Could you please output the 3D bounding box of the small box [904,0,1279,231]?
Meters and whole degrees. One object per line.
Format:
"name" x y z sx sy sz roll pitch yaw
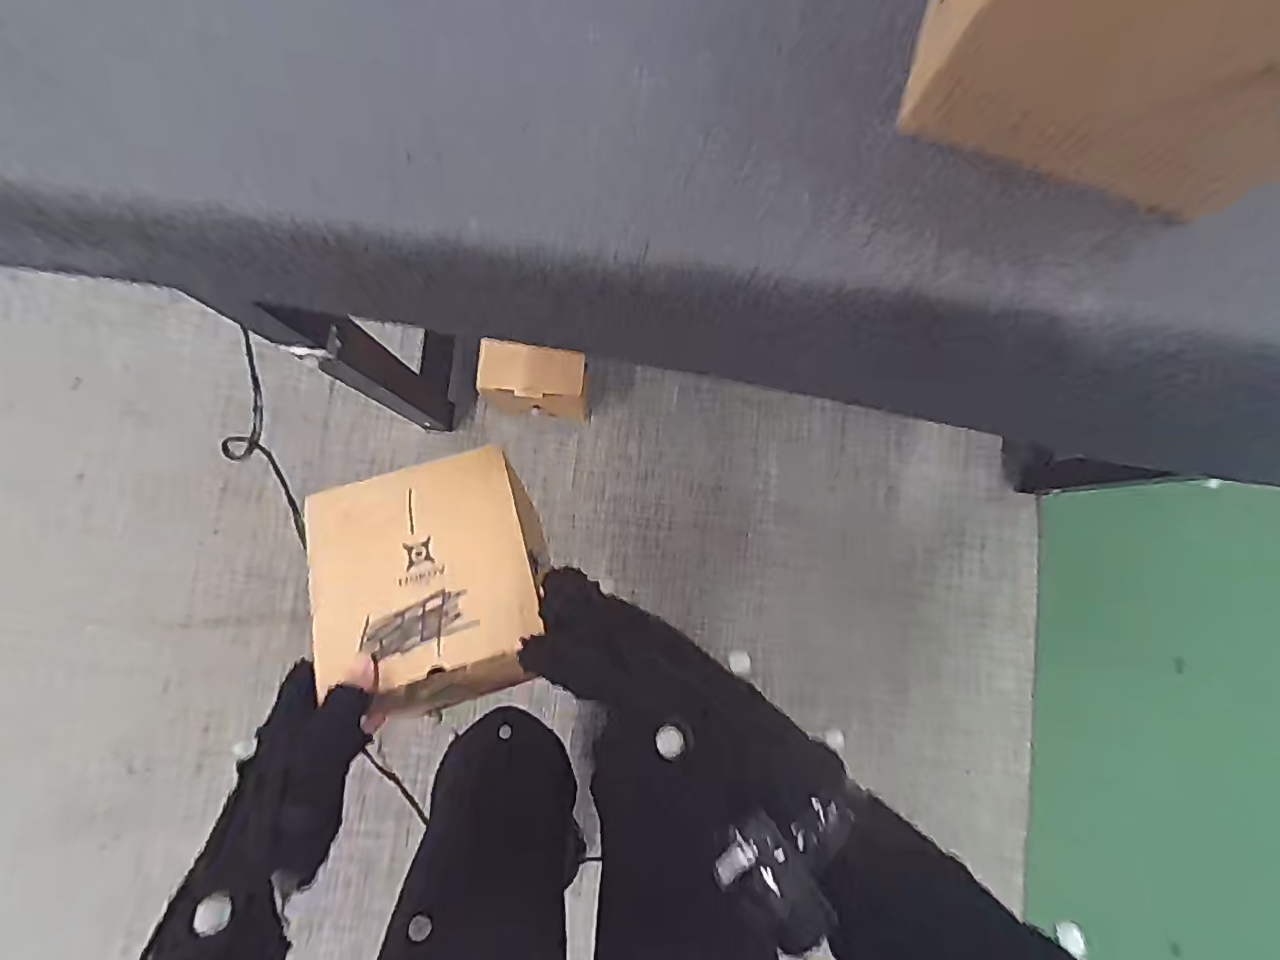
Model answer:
"small box" 0.249 -0.237 0.225 0.179 0.176 0.168 16 82 -1

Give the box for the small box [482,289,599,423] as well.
"small box" -0.161 -0.202 0.930 0.168 0.176 0.179 6 84 -3
